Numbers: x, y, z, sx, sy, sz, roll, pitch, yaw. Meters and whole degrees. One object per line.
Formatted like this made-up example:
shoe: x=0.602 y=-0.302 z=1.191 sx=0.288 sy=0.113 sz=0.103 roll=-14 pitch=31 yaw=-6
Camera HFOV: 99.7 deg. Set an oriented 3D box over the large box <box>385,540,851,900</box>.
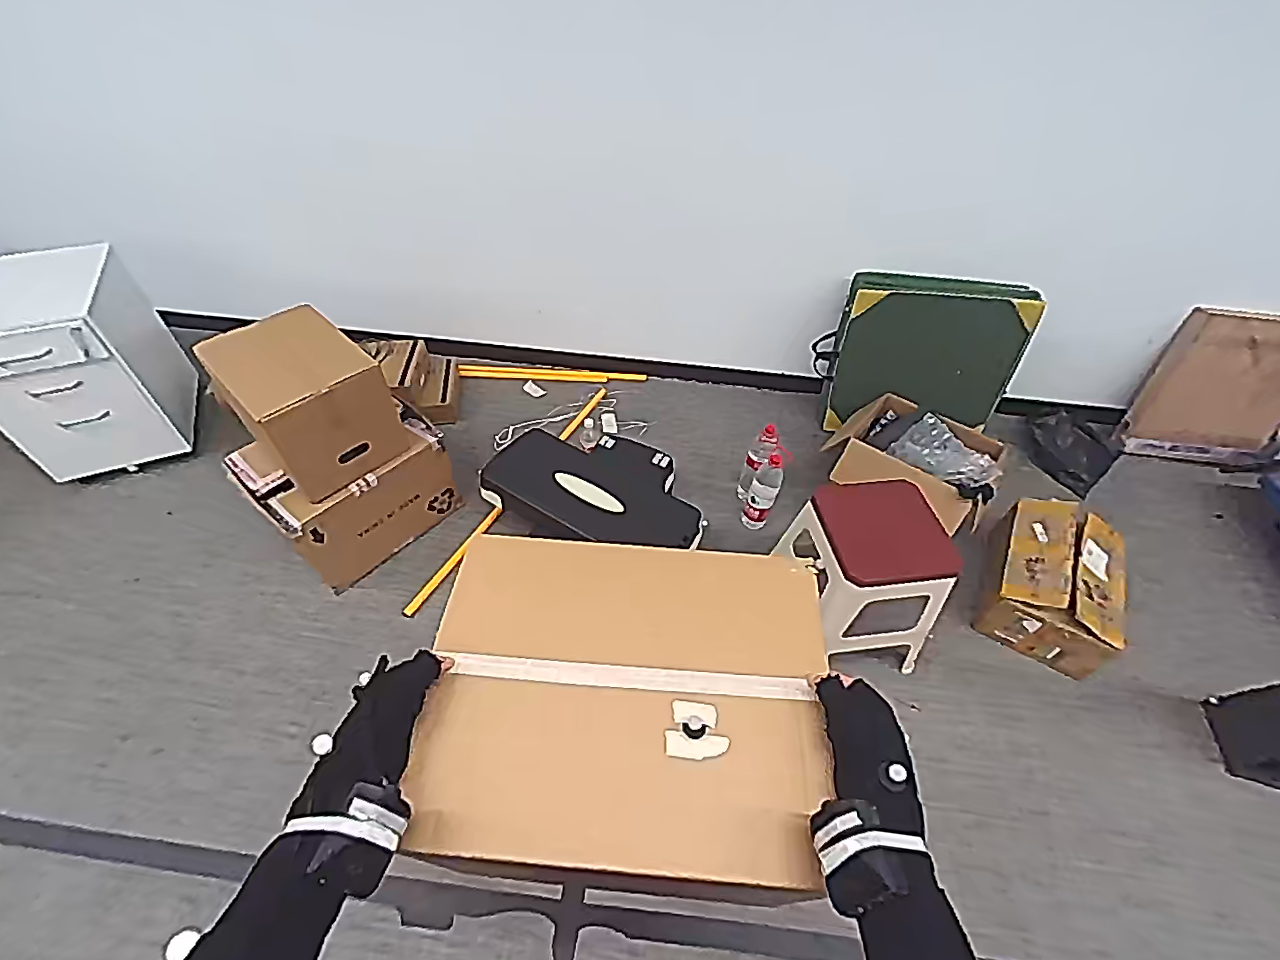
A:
large box: x=-0.016 y=0.296 z=0.660 sx=0.408 sy=0.320 sz=0.320 roll=4 pitch=50 yaw=2
